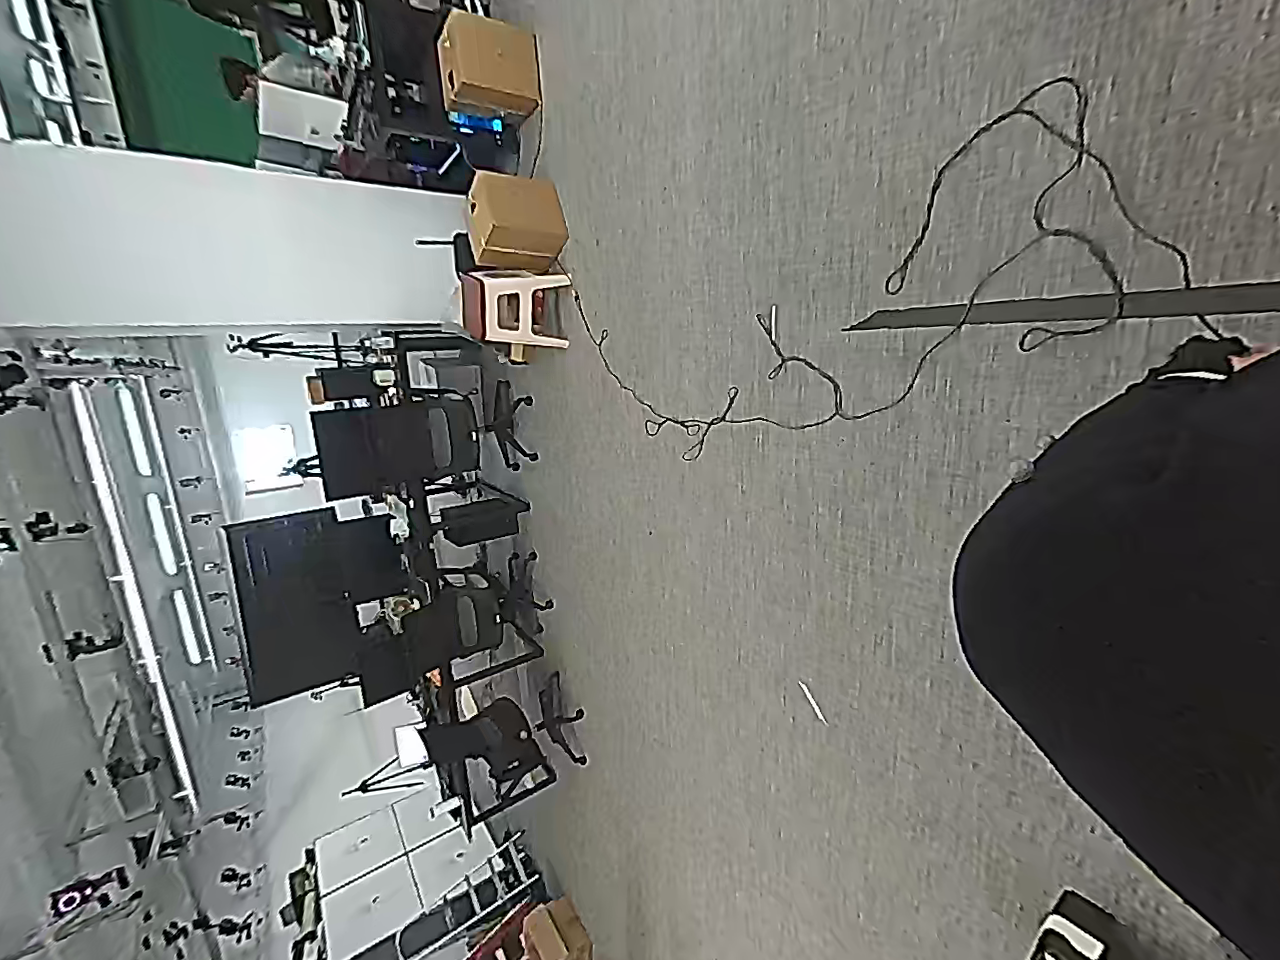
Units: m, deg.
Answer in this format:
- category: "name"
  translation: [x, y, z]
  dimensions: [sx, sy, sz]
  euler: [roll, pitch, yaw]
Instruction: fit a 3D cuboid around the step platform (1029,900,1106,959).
- category: "step platform"
  translation: [1.170, 1.239, 1.070]
  dimensions: [0.684, 0.204, 0.286]
  euler: [15, 113, 53]
